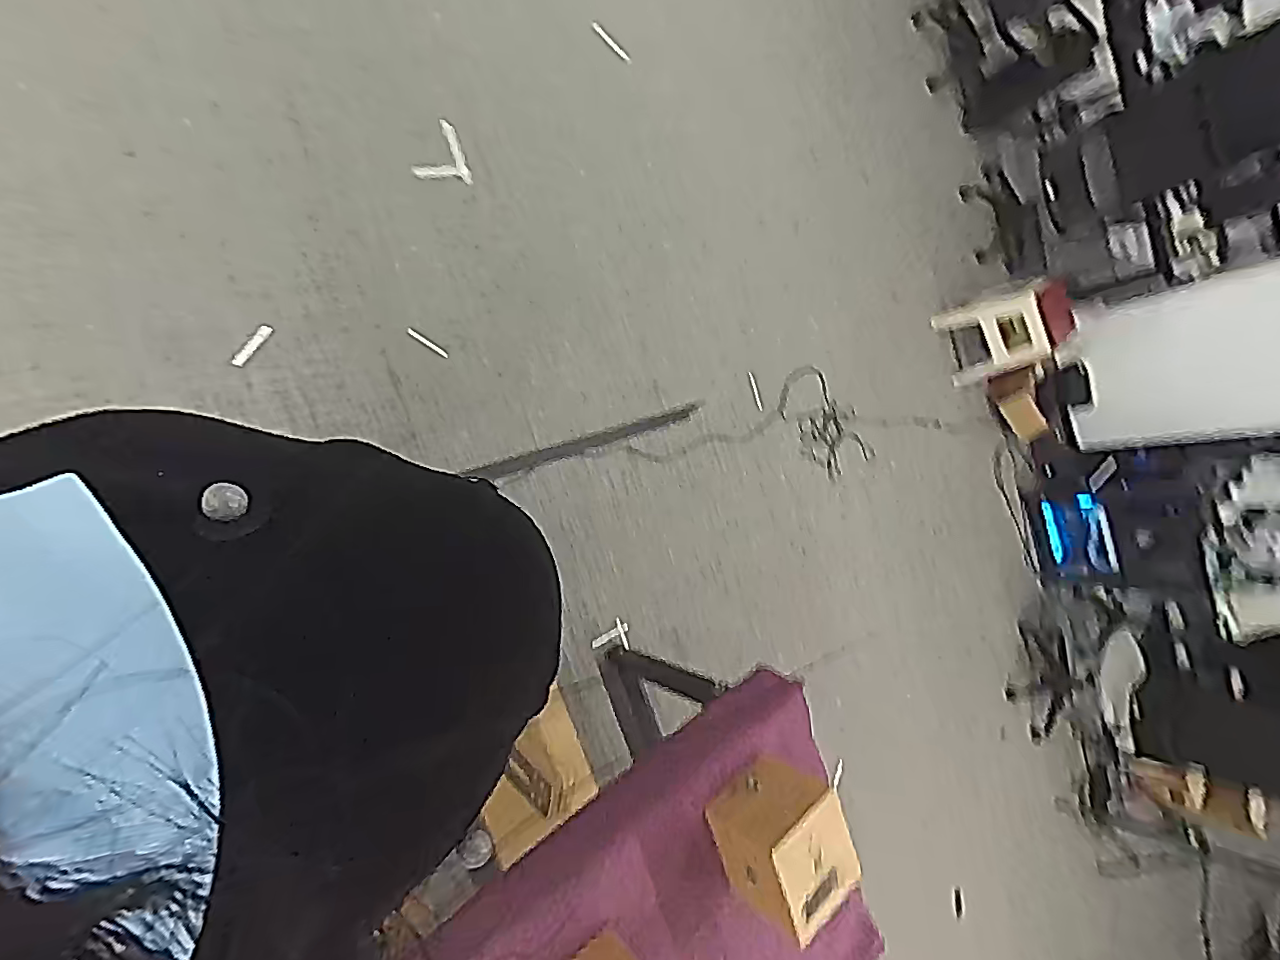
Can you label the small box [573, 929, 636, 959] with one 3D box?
[{"bbox_3d":[-0.048,0.796,0.746,0.179,0.176,0.168,-24,101,-32],"label":"small box"}]
